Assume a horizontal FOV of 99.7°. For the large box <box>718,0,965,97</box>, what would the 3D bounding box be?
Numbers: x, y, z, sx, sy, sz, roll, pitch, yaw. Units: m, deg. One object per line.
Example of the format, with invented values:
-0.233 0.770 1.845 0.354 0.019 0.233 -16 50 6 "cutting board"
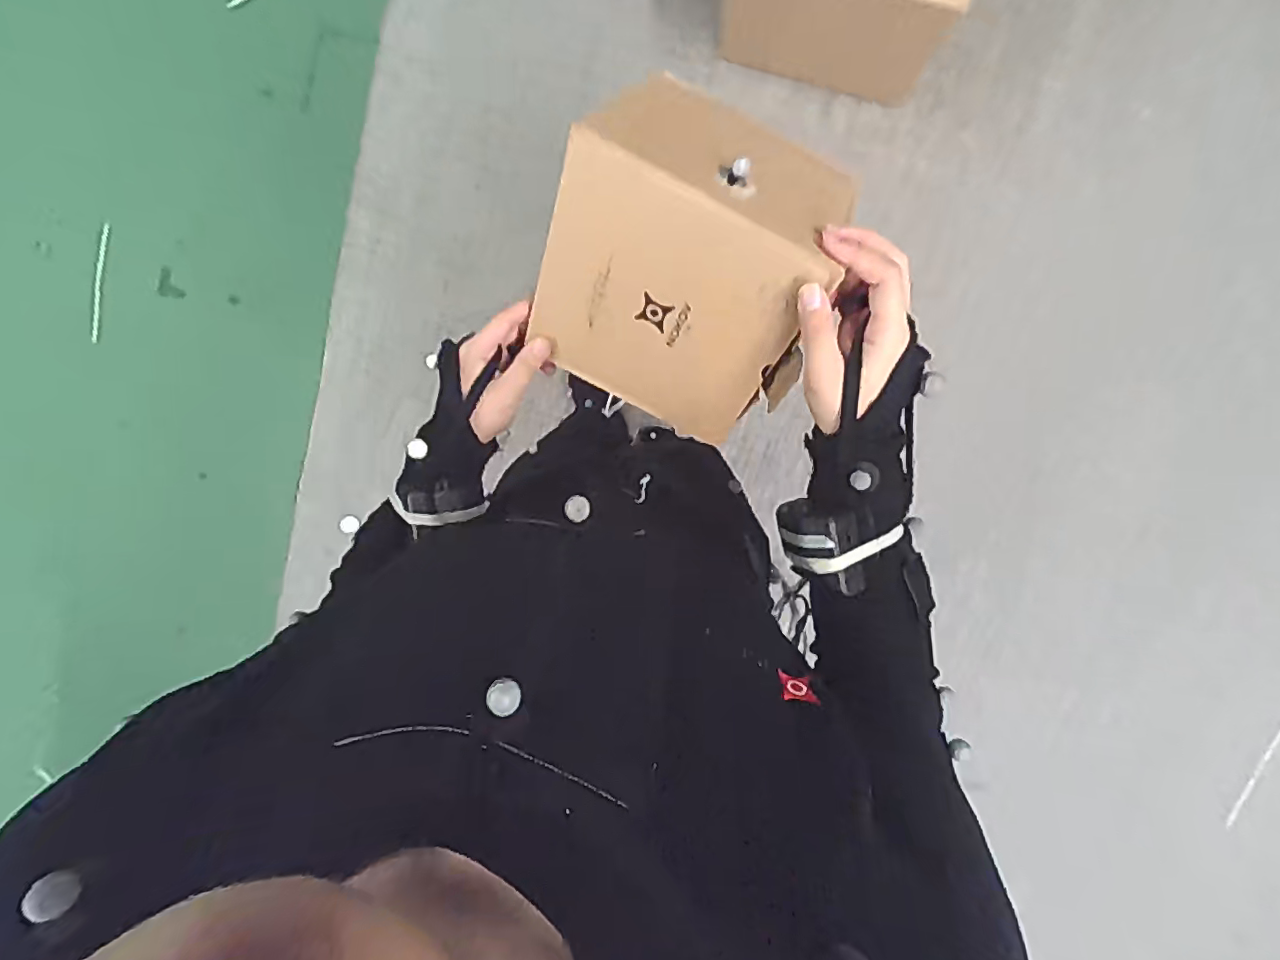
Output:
0.379 -0.979 0.985 0.408 0.320 0.320 16 103 3 "large box"
